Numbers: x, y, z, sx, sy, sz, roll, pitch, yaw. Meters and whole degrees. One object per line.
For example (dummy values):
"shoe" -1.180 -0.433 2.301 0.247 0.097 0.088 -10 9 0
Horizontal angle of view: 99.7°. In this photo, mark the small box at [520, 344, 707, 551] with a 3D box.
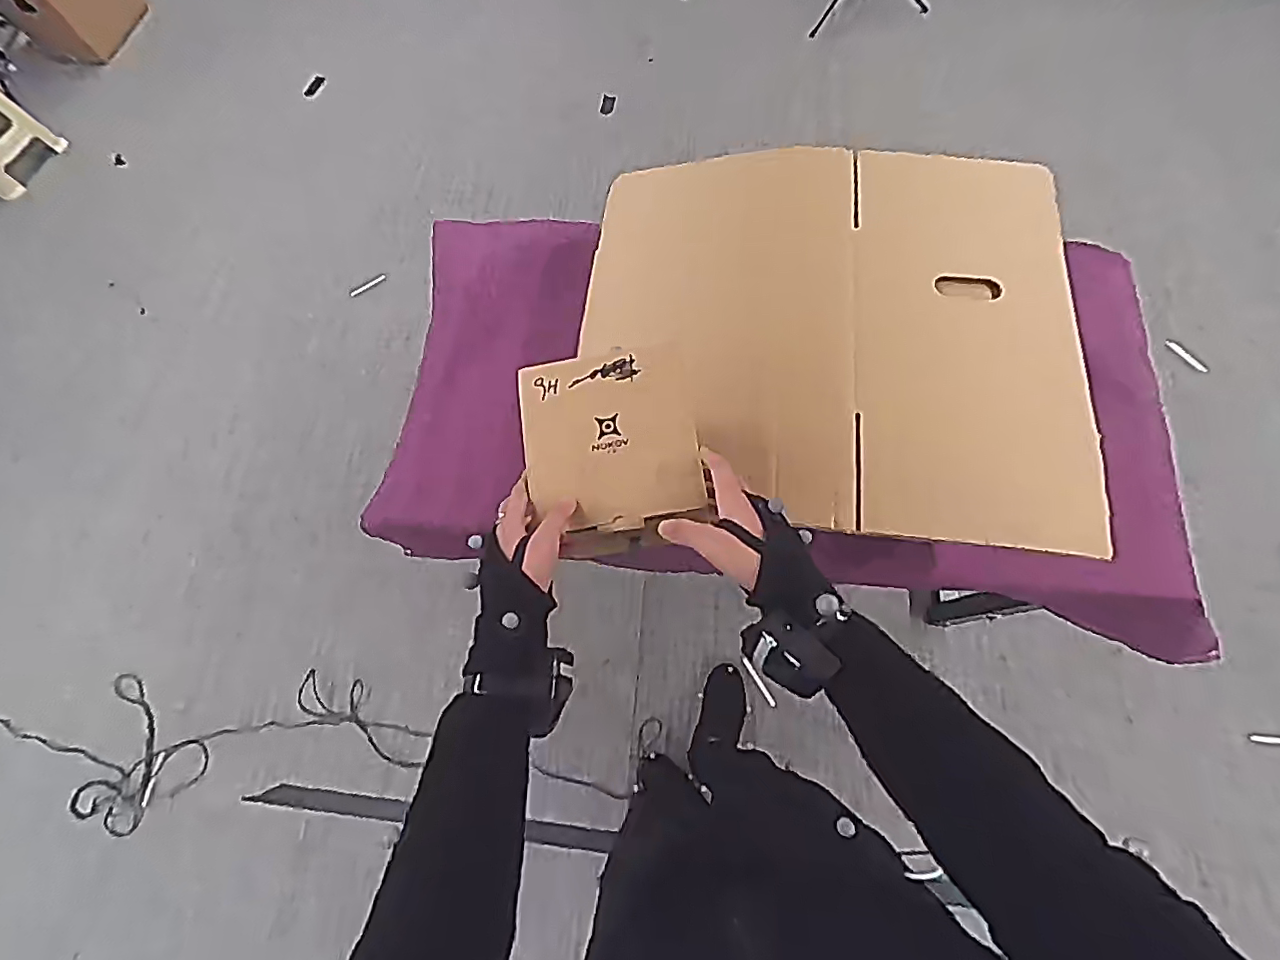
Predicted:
"small box" -0.020 -0.021 0.595 0.168 0.176 0.179 -10 75 5
